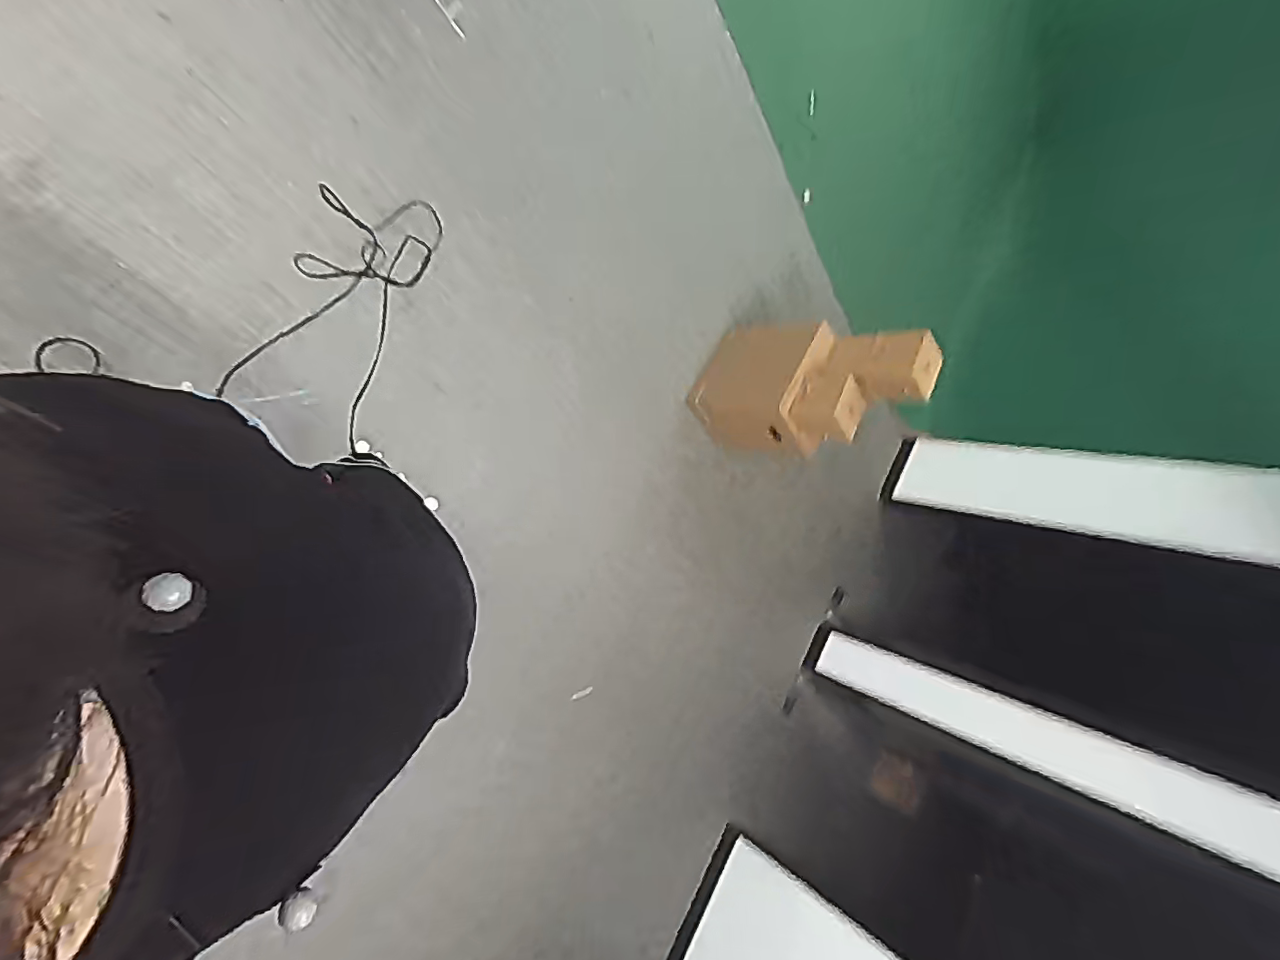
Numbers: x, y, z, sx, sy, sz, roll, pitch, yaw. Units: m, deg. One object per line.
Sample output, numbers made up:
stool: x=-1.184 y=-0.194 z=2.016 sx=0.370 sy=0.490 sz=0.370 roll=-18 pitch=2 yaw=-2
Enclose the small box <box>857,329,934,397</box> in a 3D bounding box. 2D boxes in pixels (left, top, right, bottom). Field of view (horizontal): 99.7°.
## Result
small box: x=0.884 y=-0.405 z=1.873 sx=0.179 sy=0.176 sz=0.168 roll=32 pitch=77 yaw=-40
